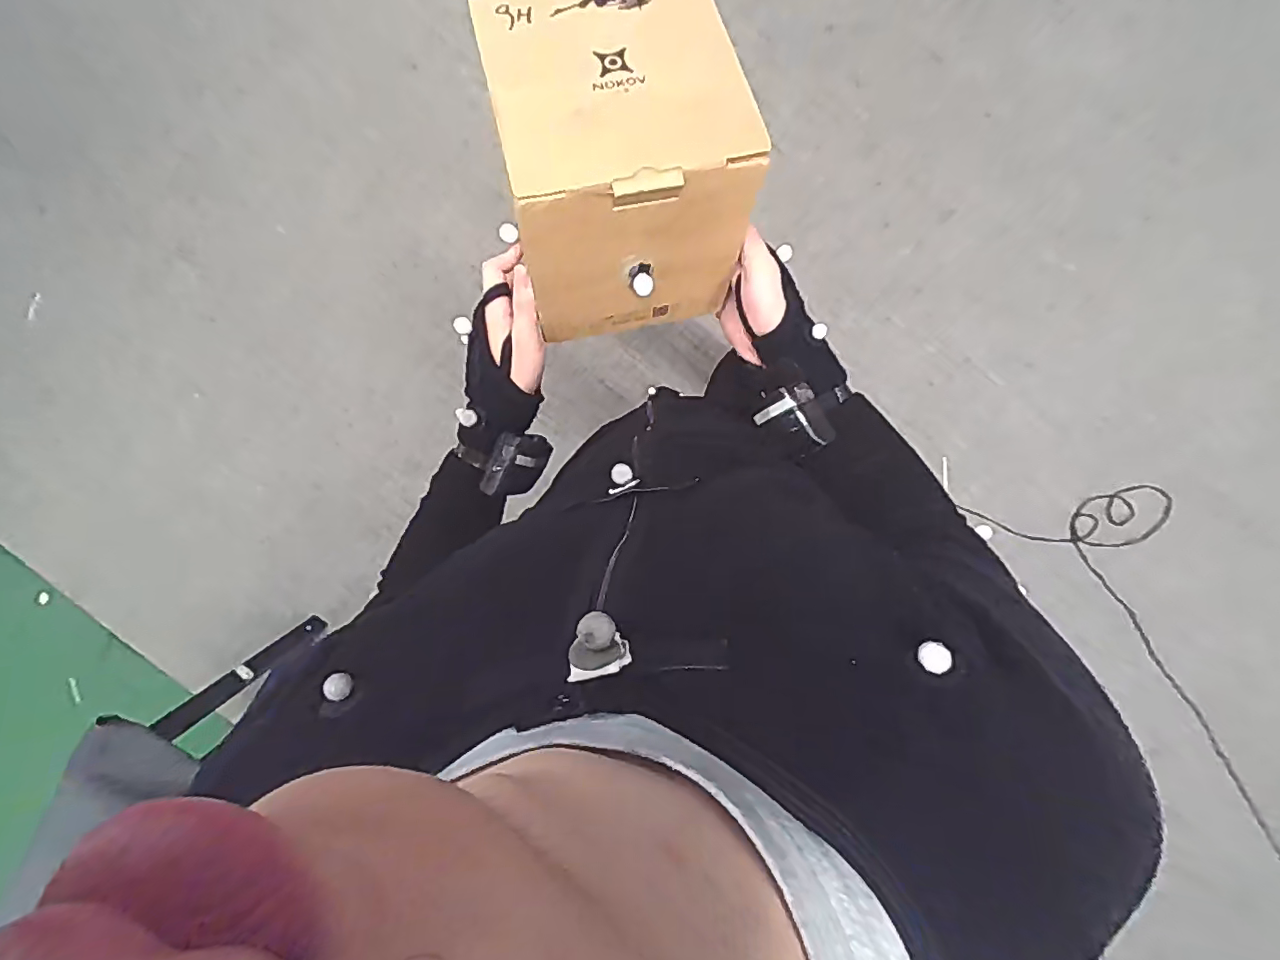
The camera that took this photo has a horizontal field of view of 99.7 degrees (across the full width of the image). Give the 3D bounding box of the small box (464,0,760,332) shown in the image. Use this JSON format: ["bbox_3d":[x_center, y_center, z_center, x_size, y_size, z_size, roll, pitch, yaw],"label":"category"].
[{"bbox_3d":[-0.024,-0.235,0.425,0.168,0.176,0.179,-12,76,-6],"label":"small box"}]
